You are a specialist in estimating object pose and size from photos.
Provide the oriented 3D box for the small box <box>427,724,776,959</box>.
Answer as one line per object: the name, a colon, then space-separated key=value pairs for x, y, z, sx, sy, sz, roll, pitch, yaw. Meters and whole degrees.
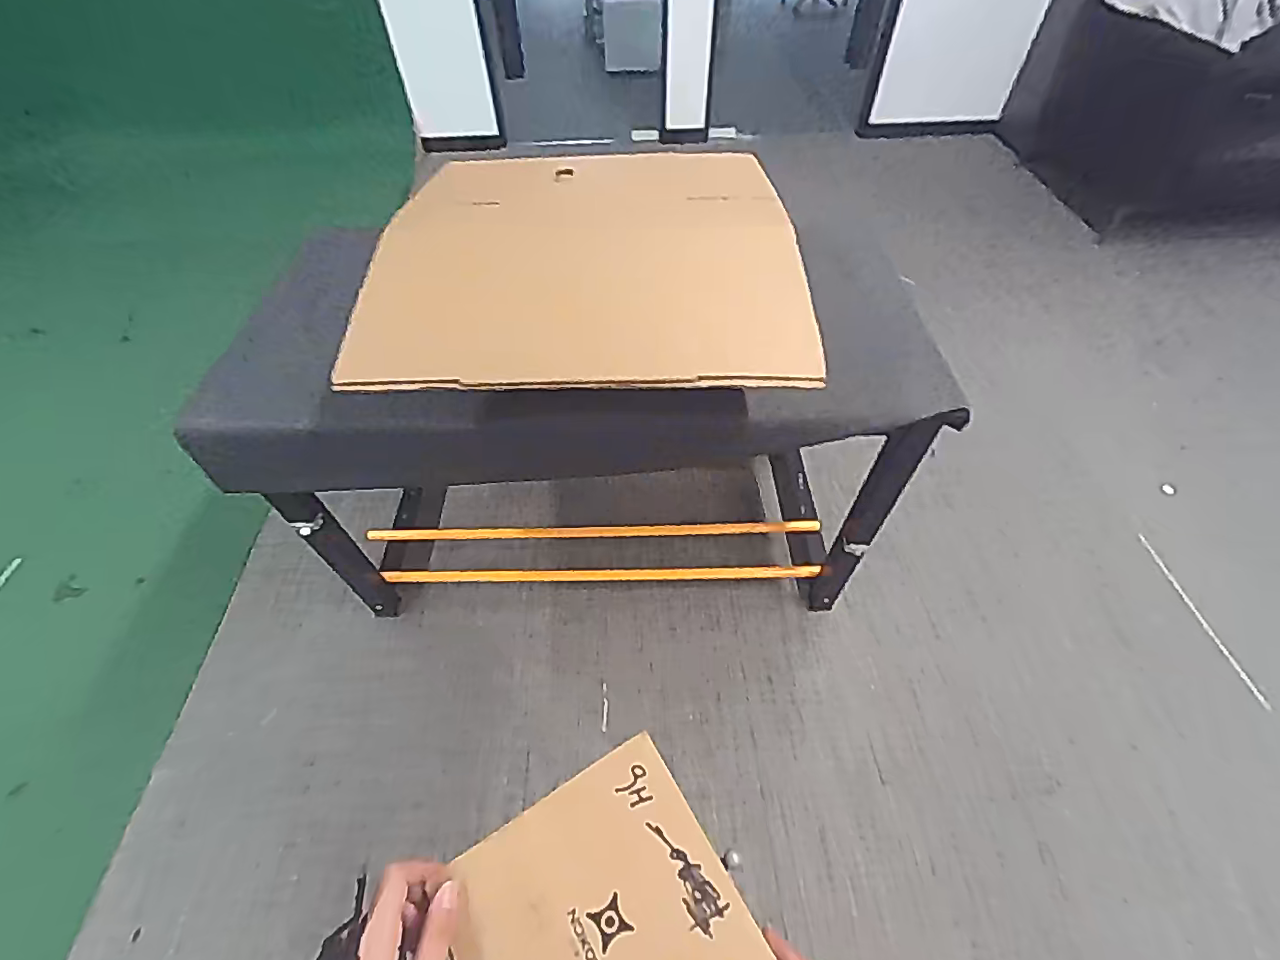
small box: x=-0.024 y=0.319 z=0.413 sx=0.179 sy=0.176 sz=0.168 roll=-30 pitch=63 yaw=-14
